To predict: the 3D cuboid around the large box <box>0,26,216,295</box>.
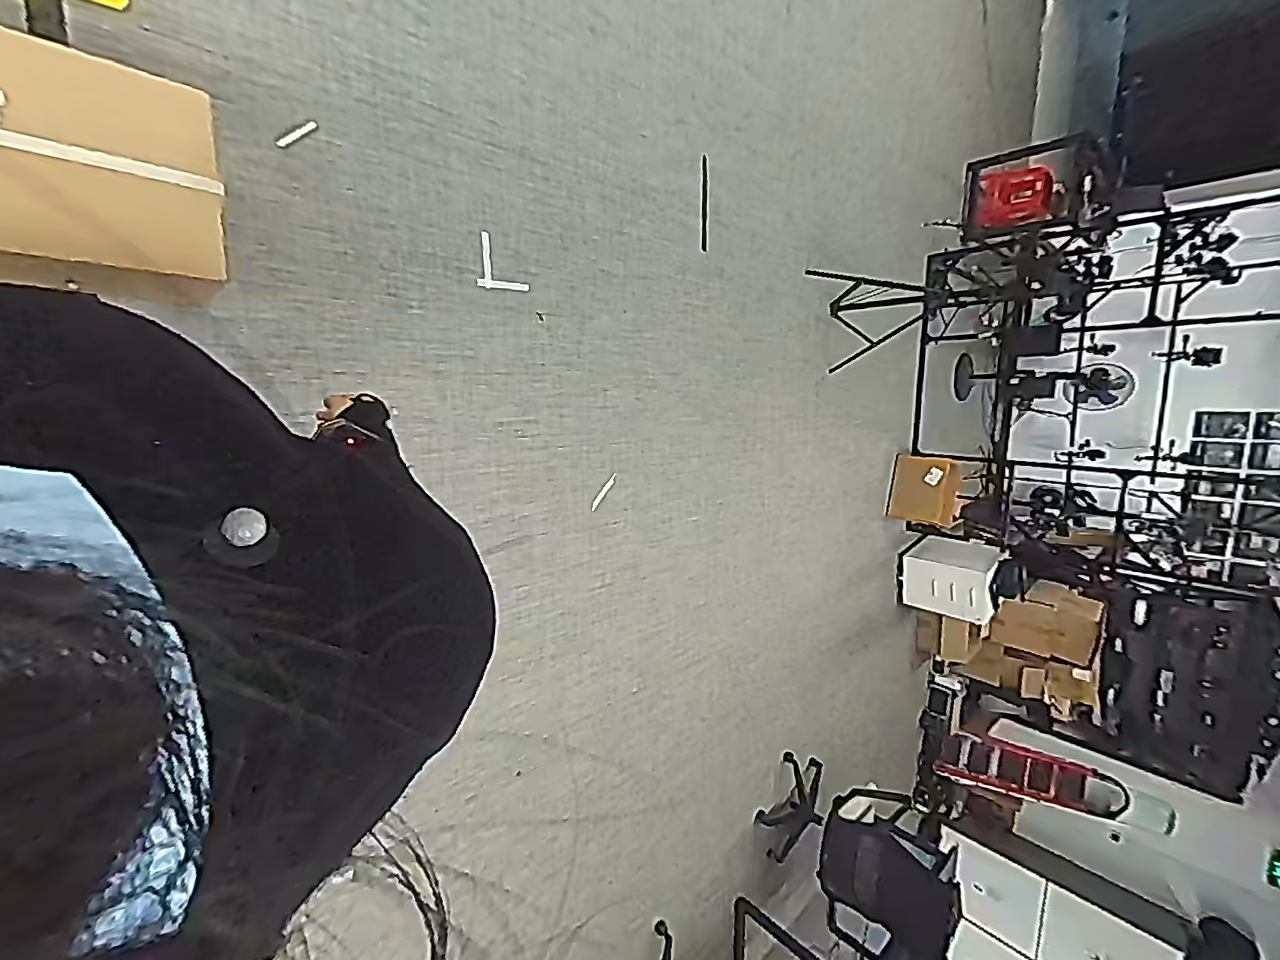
[{"bbox_3d":[-0.994,-0.510,0.906,0.408,0.320,0.320,-7,99,-43],"label":"large box"}]
